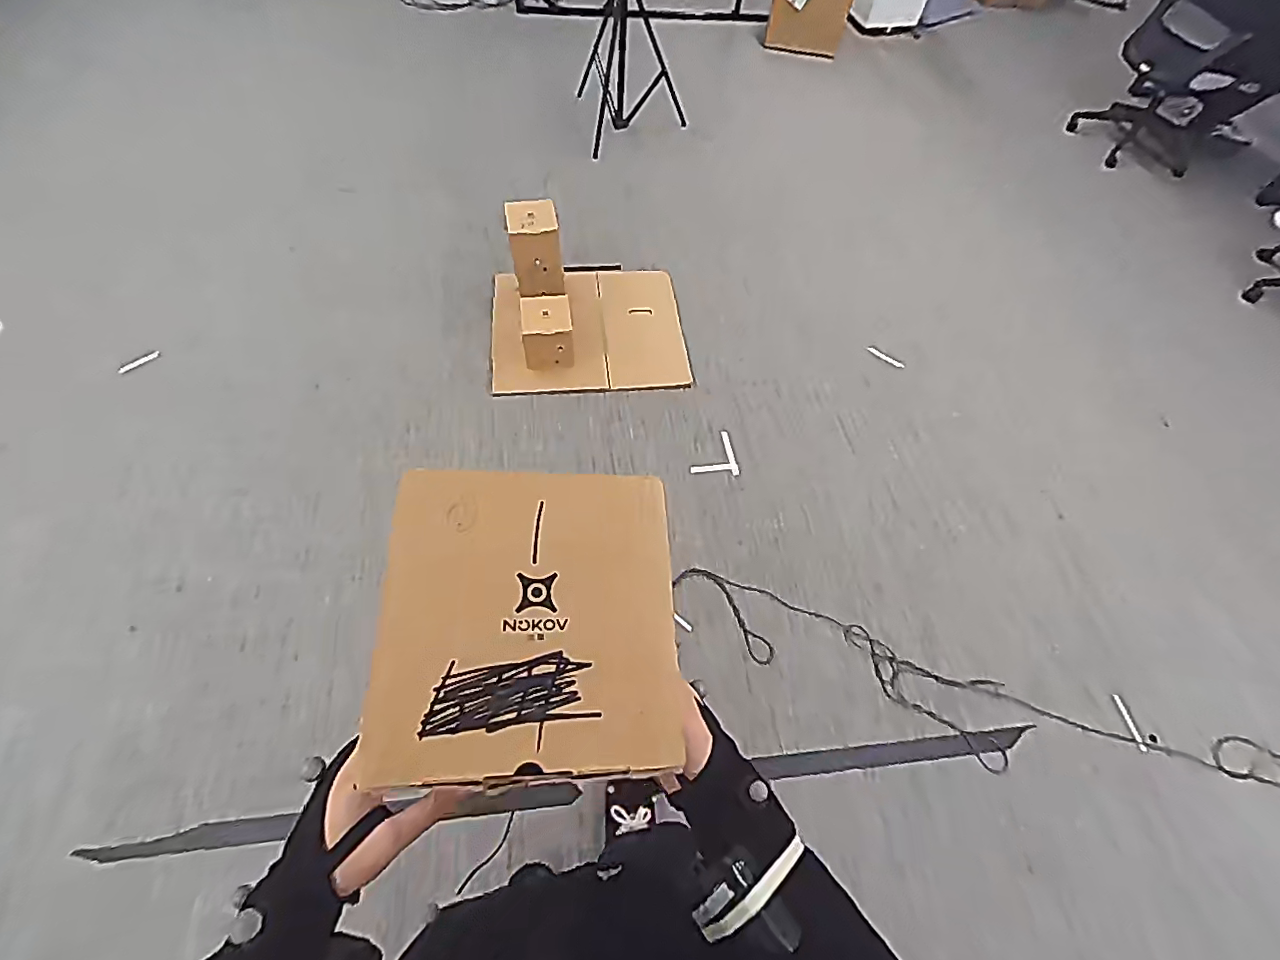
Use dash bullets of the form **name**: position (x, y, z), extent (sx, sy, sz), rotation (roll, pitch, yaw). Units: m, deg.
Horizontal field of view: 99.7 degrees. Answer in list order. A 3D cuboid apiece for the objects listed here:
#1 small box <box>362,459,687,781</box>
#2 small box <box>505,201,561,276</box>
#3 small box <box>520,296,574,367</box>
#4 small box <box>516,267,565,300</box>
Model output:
- **small box**: position (-0.071, 0.103, 0.379), extent (0.168, 0.176, 0.179), rotation (2, 62, -11)
- **small box**: position (-0.368, -0.831, 1.865), extent (0.168, 0.176, 0.179), rotation (-9, 60, -9)
- **small box**: position (-0.319, -0.506, 1.867), extent (0.168, 0.176, 0.179), rotation (-6, 59, -9)
- **small box**: position (-0.373, -0.746, 2.006), extent (0.168, 0.176, 0.179), rotation (-10, 61, -11)
